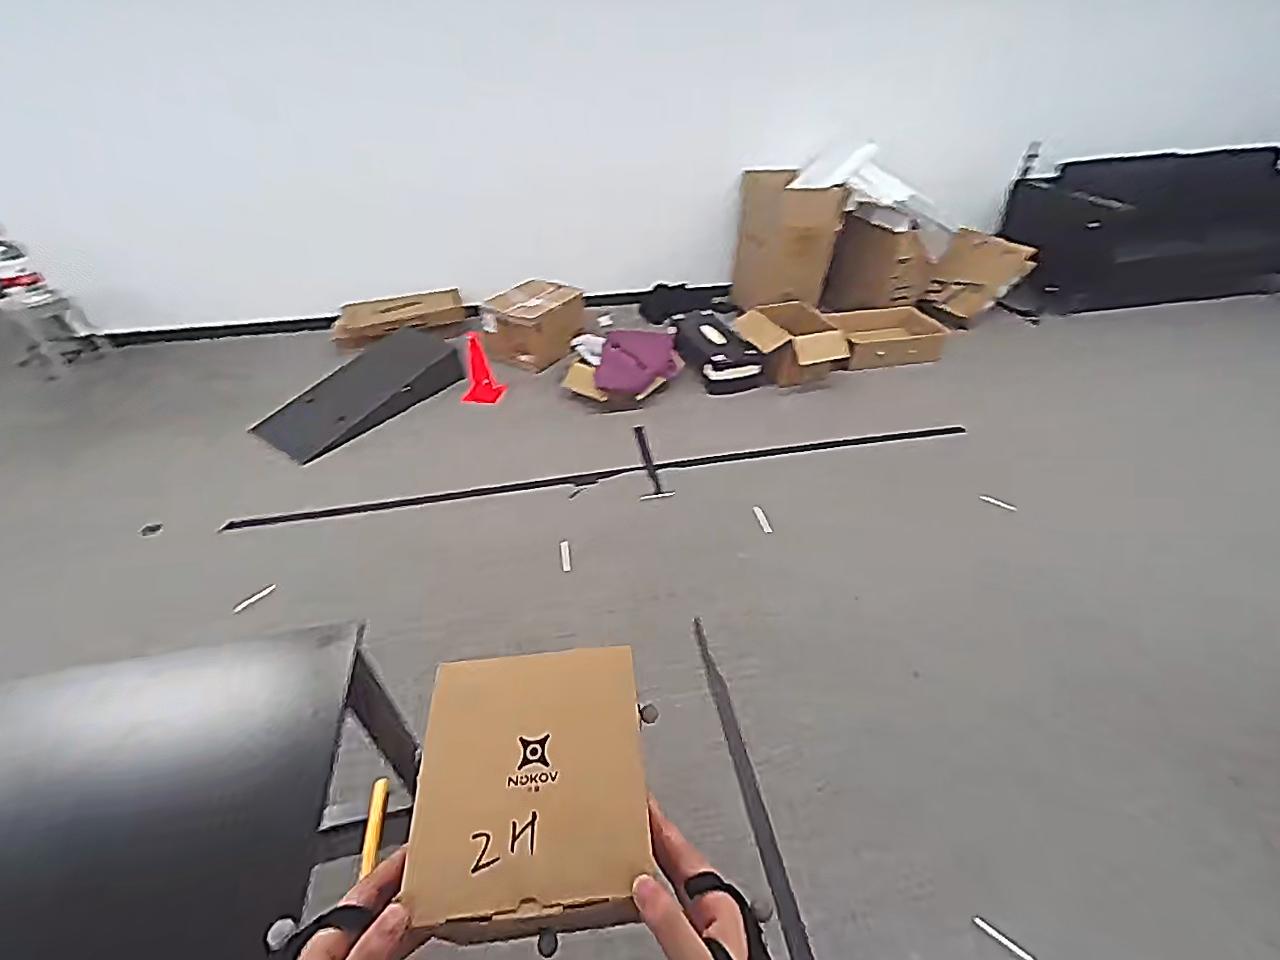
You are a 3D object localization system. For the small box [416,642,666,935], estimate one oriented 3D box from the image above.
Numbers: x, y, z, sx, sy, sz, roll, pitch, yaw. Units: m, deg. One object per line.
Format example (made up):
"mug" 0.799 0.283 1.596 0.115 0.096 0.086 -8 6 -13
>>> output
"small box" -0.070 0.264 0.466 0.168 0.176 0.179 -5 46 -2
